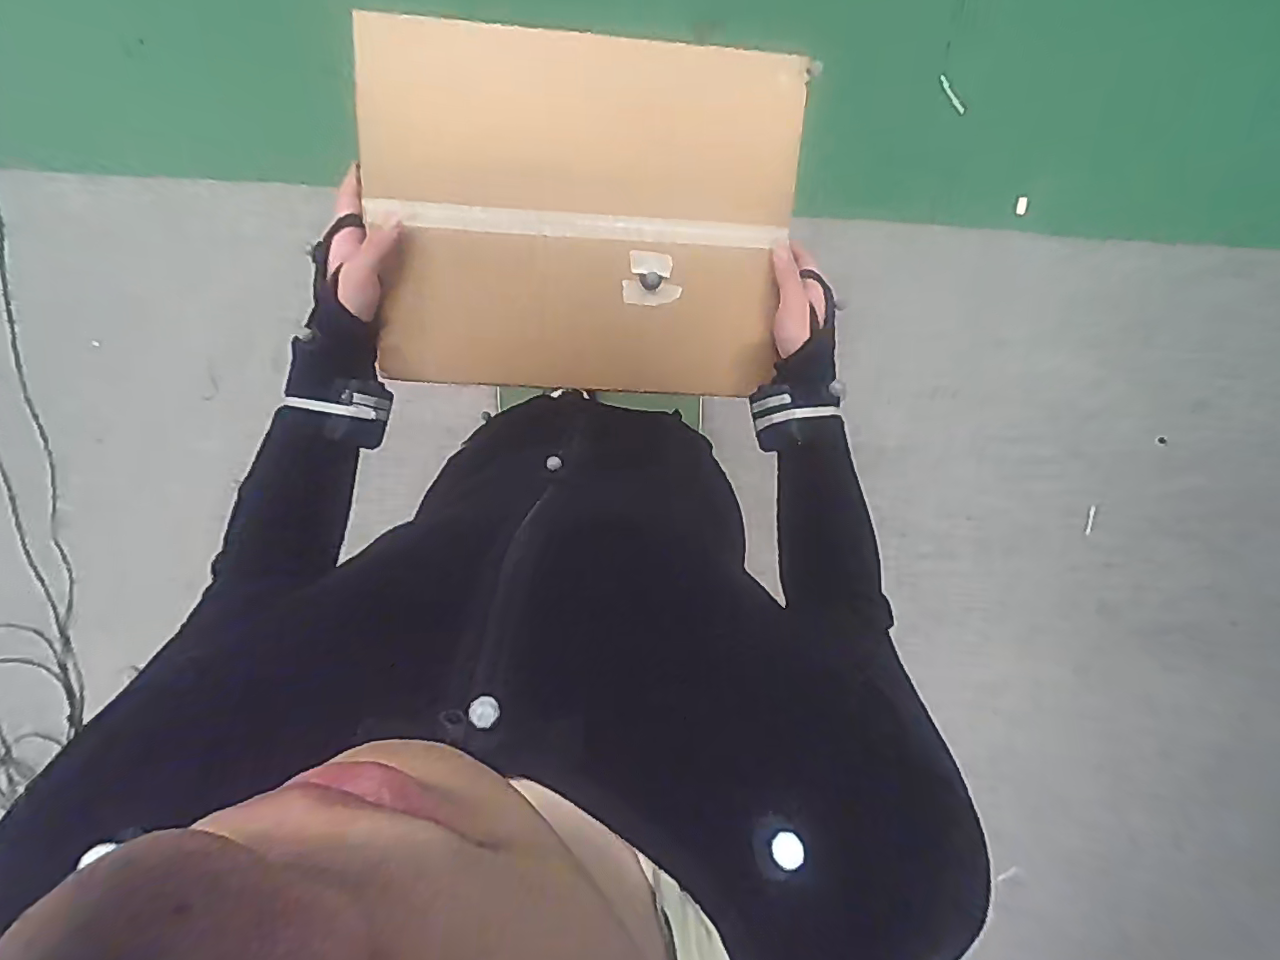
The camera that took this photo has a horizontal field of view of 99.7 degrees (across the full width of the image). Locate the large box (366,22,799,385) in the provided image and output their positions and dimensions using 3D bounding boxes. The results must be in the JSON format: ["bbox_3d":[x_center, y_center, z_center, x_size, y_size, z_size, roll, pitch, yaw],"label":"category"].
[{"bbox_3d":[-0.065,-0.292,0.675,0.408,0.320,0.320,1,106,-6],"label":"large box"}]
